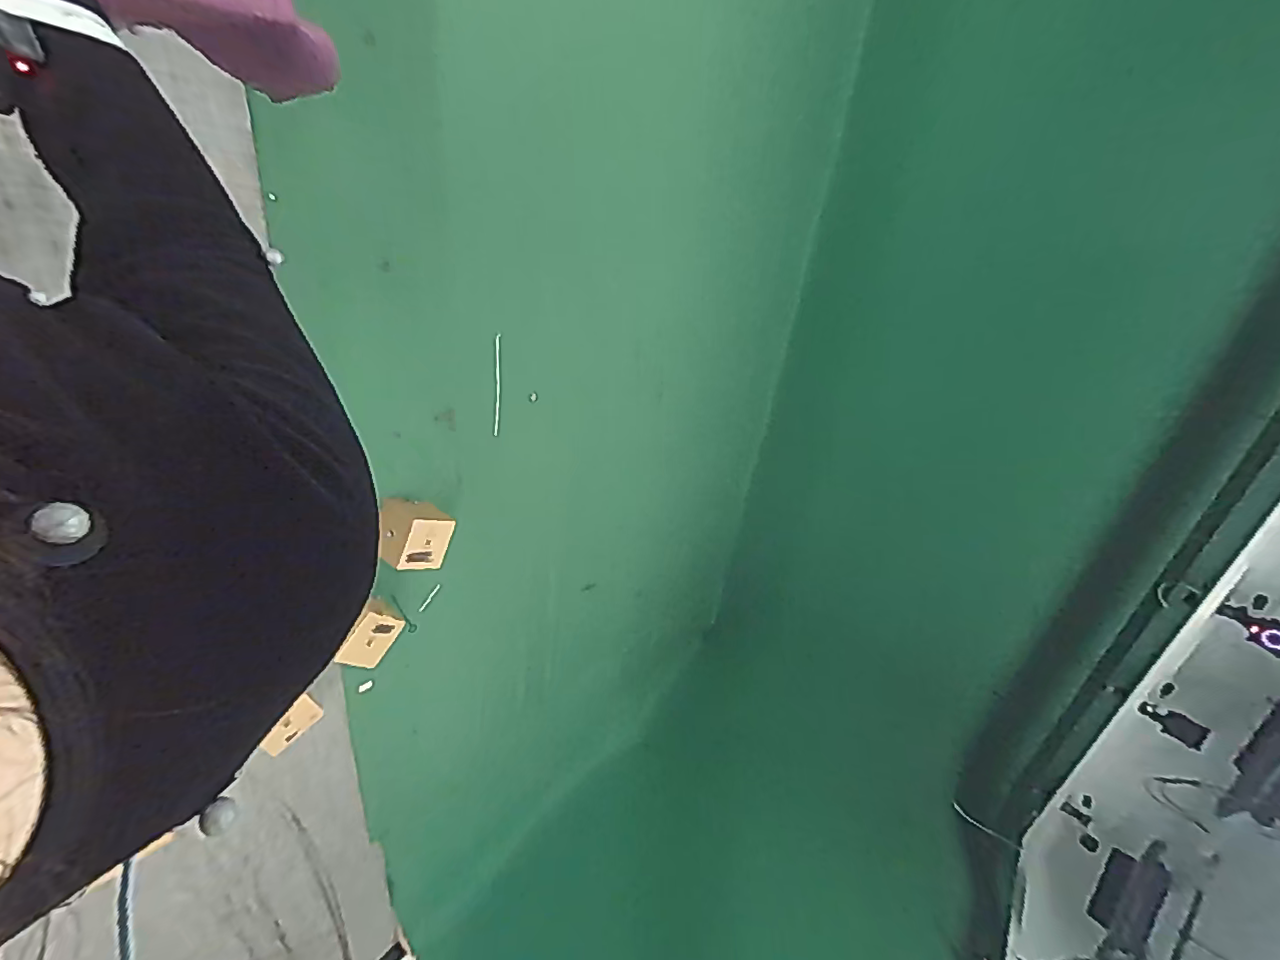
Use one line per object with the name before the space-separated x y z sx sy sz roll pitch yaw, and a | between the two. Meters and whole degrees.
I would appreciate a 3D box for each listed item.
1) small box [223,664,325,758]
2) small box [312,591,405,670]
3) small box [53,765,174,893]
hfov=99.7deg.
small box | -1.095 0.682 1.617 0.168 0.176 0.179 -41 142 -34
small box | -0.913 0.484 1.749 0.179 0.176 0.168 -56 149 -11
small box | -1.345 0.882 1.380 0.179 0.176 0.168 -26 133 -45
